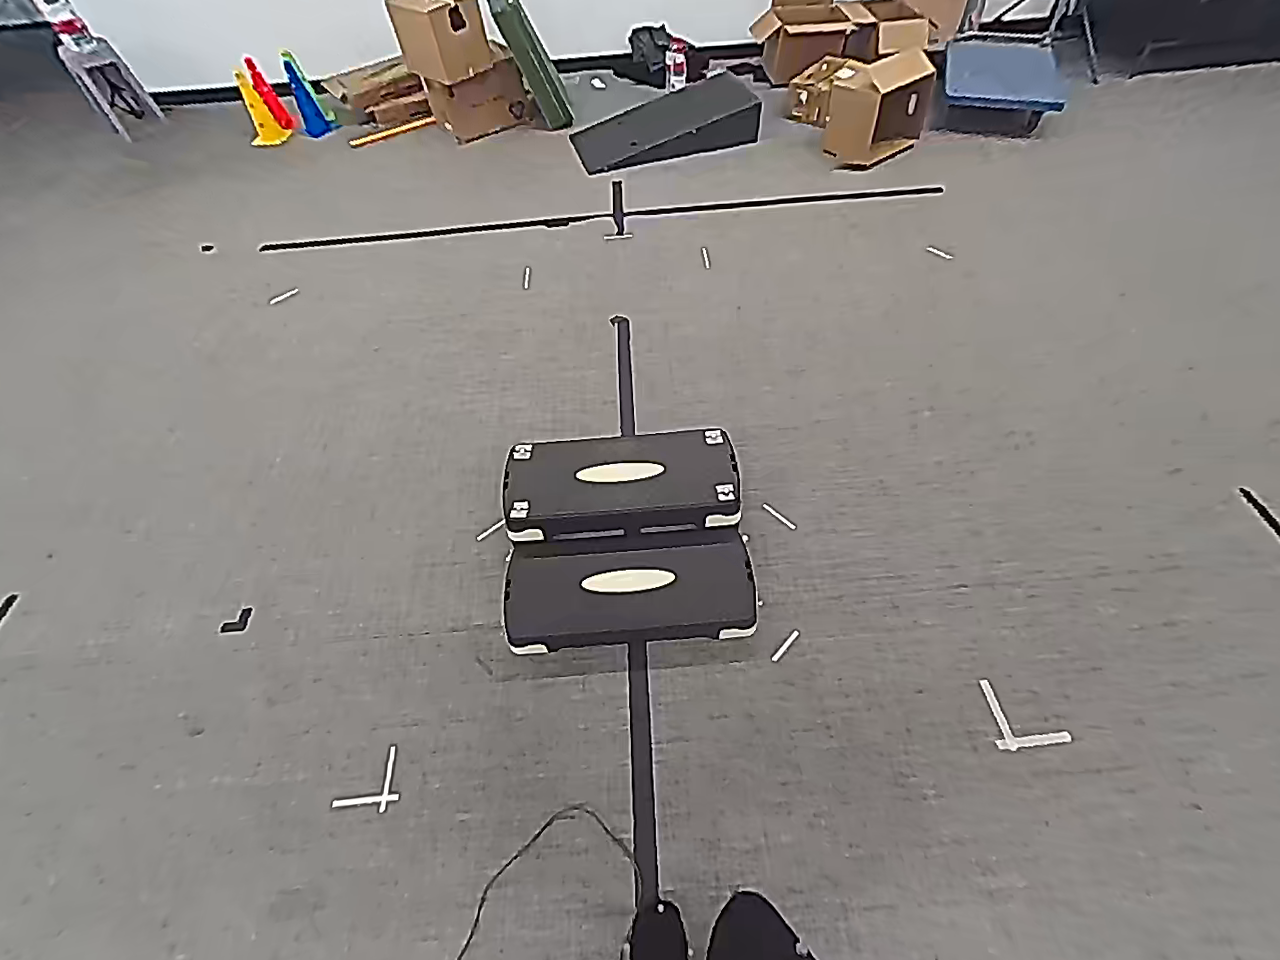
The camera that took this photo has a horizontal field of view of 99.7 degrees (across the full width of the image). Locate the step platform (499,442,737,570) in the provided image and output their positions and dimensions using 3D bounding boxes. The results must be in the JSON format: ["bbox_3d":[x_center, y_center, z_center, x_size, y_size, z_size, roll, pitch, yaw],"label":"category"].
[{"bbox_3d":[-0.064,0.070,1.590,0.684,0.204,0.286,-5,55,-1],"label":"step platform"}]
